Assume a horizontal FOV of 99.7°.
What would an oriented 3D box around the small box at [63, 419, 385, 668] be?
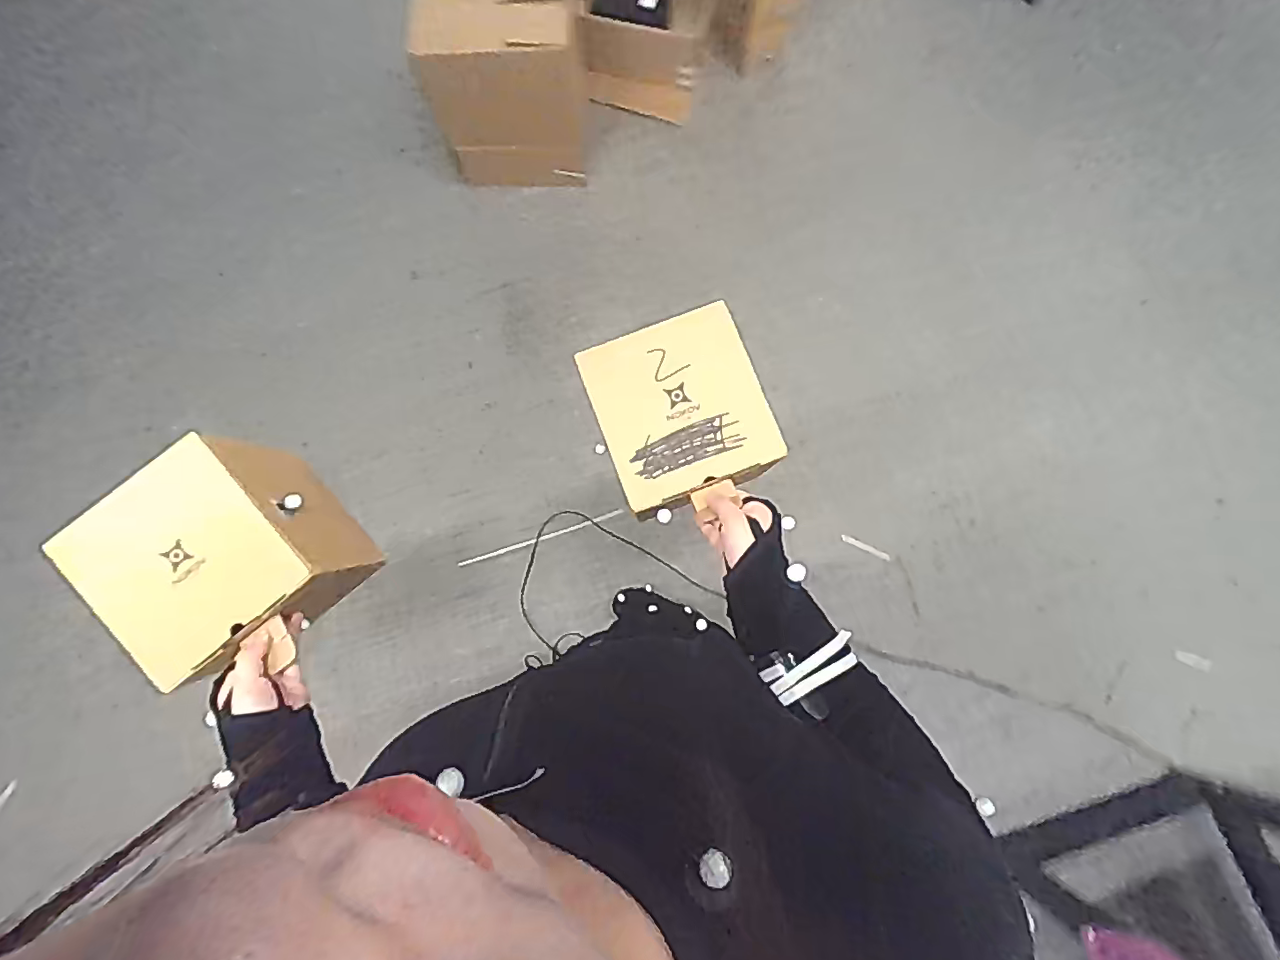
[{"bbox_3d":[-0.418,0.063,0.580,0.168,0.176,0.179,-38,90,-5],"label":"small box"}]
